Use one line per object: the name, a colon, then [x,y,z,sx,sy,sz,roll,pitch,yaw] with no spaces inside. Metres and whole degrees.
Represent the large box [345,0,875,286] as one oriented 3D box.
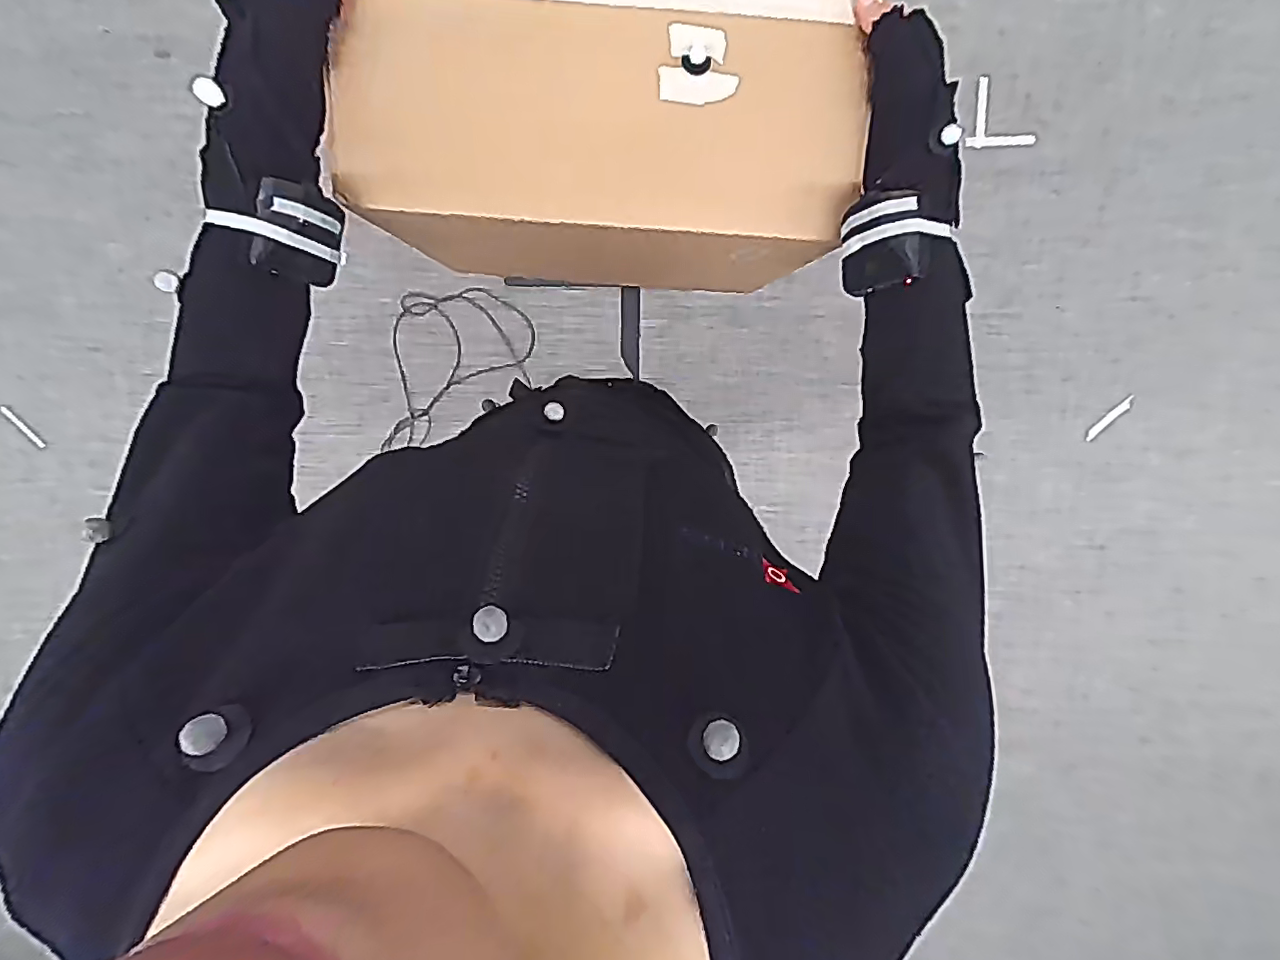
large box: [-0.028,-0.389,0.551,0.408,0.320,0.320,2,102,-4]
